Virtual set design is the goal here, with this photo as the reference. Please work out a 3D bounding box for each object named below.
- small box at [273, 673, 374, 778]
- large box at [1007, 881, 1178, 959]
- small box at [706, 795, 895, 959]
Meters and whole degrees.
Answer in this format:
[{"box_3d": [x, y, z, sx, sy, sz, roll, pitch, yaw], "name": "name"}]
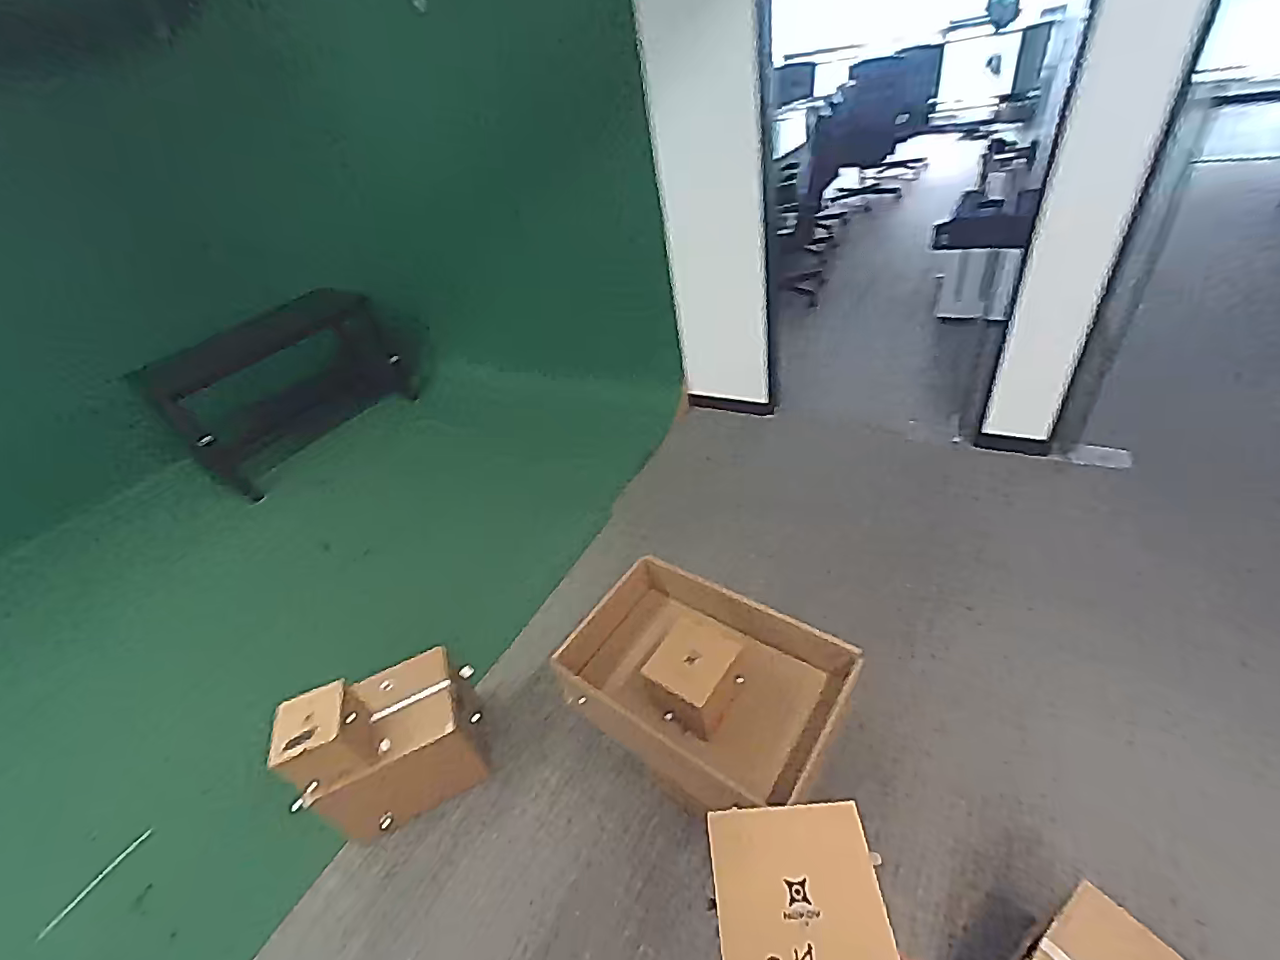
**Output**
[{"box_3d": [-0.822, 0.652, 1.423, 0.168, 0.176, 0.179, -20, 39, -10], "name": "small box"}, {"box_3d": [0.856, 1.028, 0.927, 0.320, 0.320, 0.408, -31, 41, -22], "name": "large box"}, {"box_3d": [0.163, 0.472, 0.591, 0.168, 0.176, 0.179, -7, 41, 5], "name": "small box"}]
